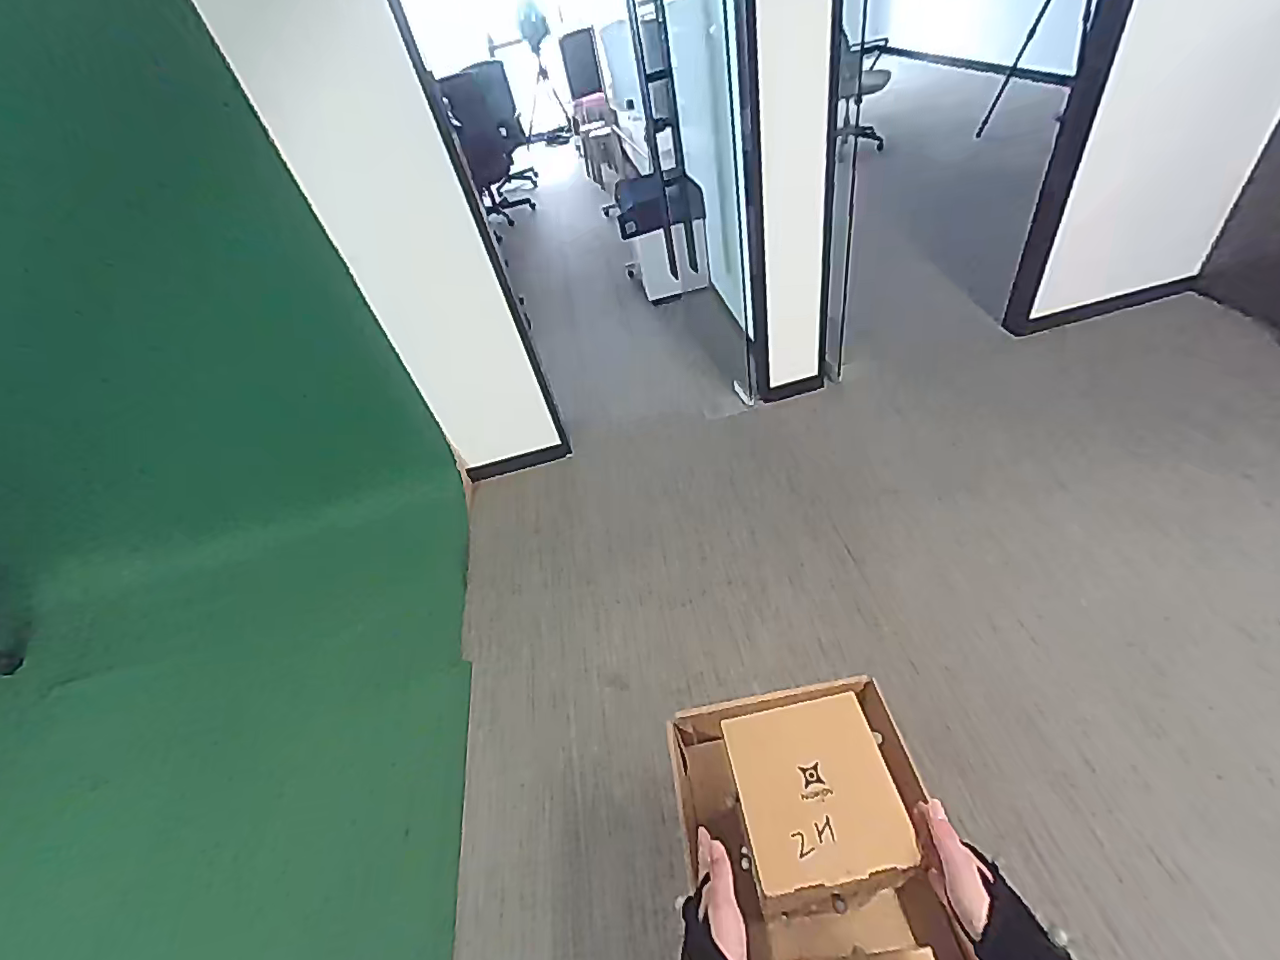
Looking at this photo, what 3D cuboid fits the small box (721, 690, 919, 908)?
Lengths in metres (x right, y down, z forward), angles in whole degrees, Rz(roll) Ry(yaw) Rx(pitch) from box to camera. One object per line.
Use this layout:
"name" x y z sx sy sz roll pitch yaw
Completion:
"small box" 0.199 0.383 0.649 0.168 0.176 0.179 -13 46 2

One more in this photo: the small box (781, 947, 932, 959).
"small box" 0.257 0.645 0.598 0.168 0.176 0.179 -10 43 5
